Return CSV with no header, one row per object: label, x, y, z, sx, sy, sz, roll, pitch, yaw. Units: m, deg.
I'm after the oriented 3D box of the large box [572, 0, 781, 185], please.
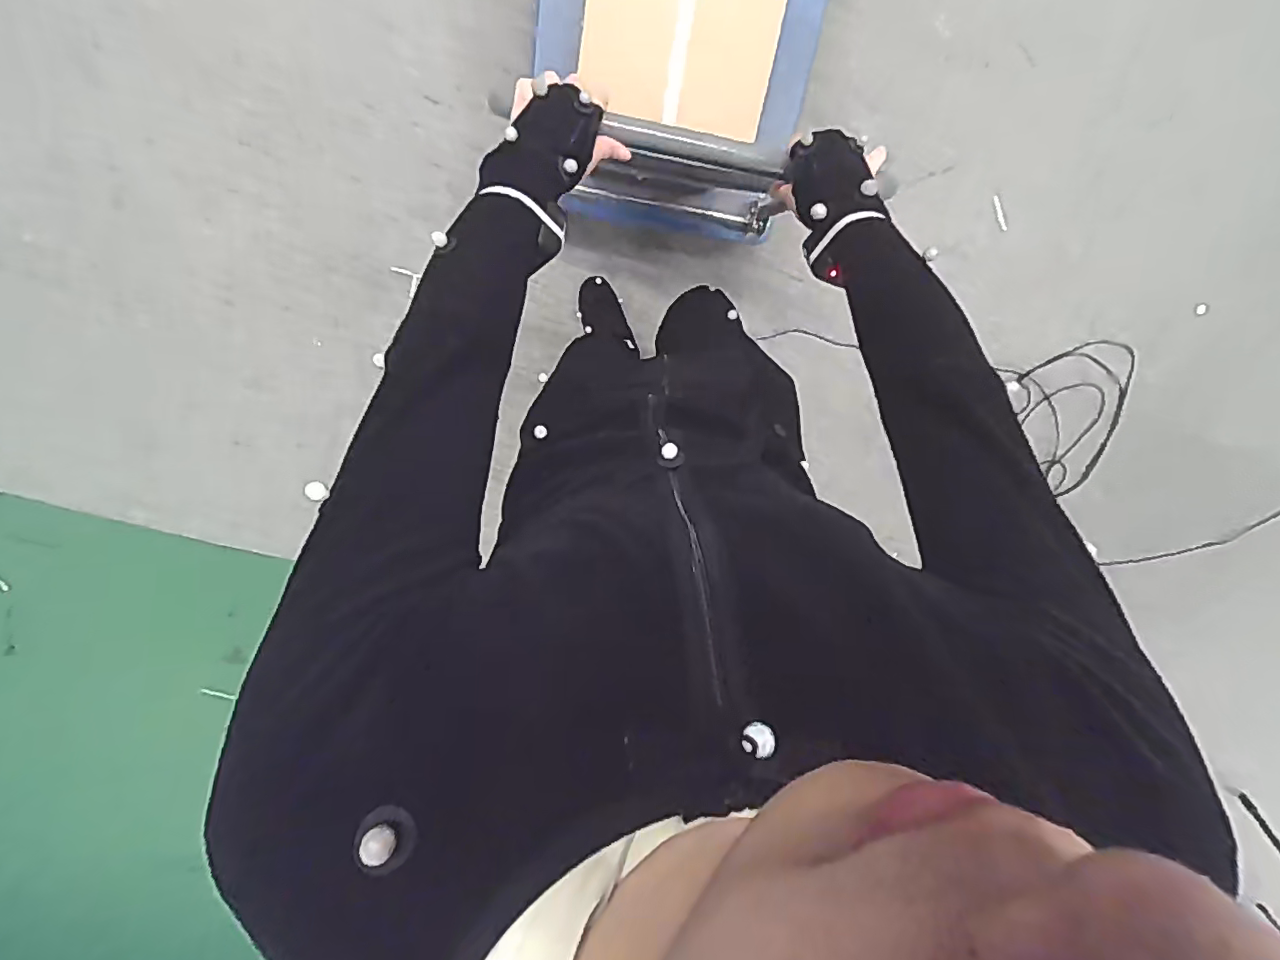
large box,0.061,-0.809,0.998,0.320,0.320,0.408,9,112,-7
